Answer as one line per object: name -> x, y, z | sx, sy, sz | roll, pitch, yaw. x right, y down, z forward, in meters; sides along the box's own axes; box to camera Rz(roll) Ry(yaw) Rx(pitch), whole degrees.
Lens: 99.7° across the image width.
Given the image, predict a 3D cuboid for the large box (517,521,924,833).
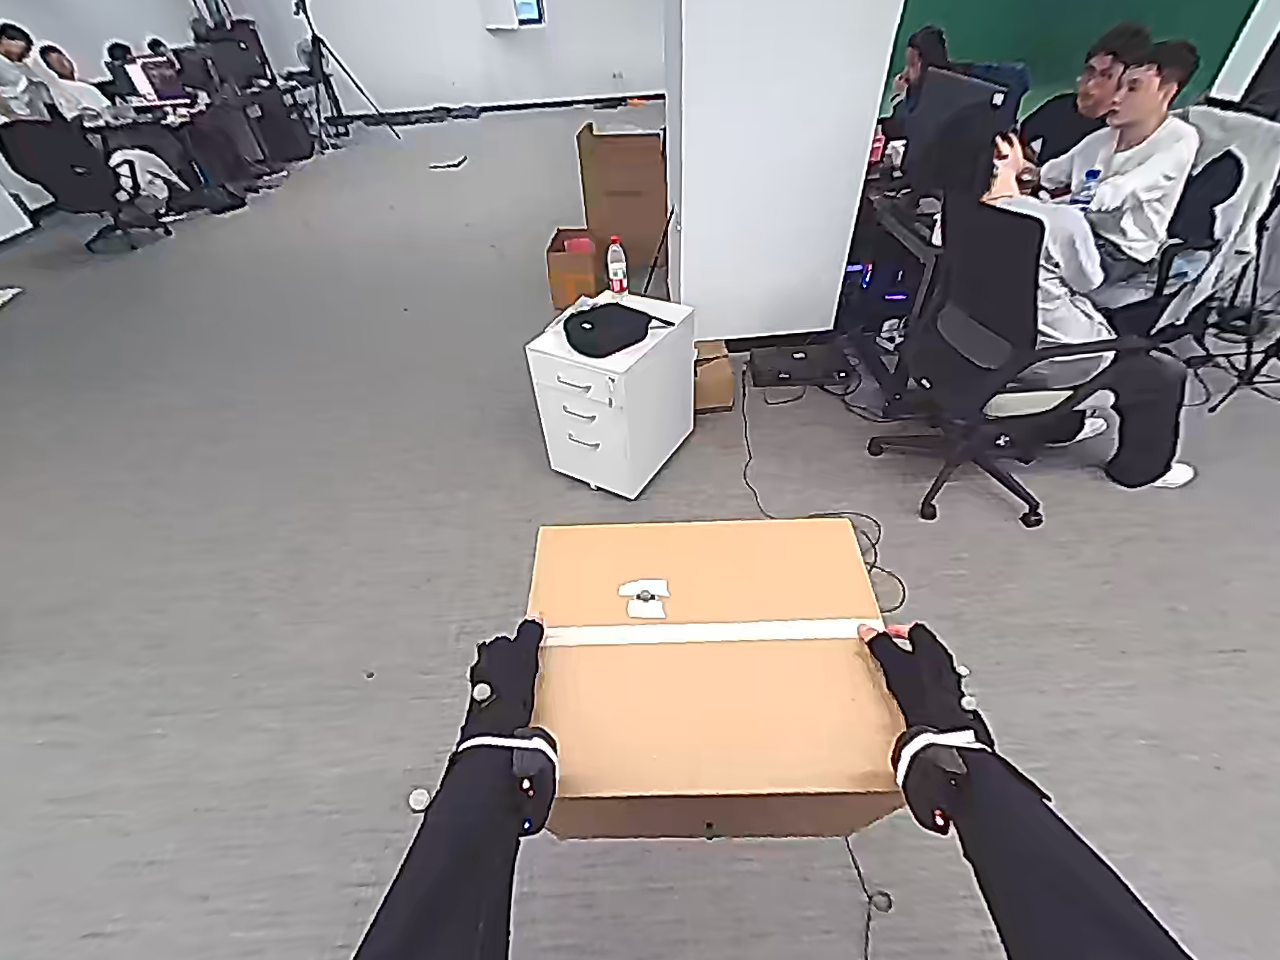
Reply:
large box -> 0.082, 0.275, 0.730 | 0.408, 0.320, 0.320 | -2, 49, 2
